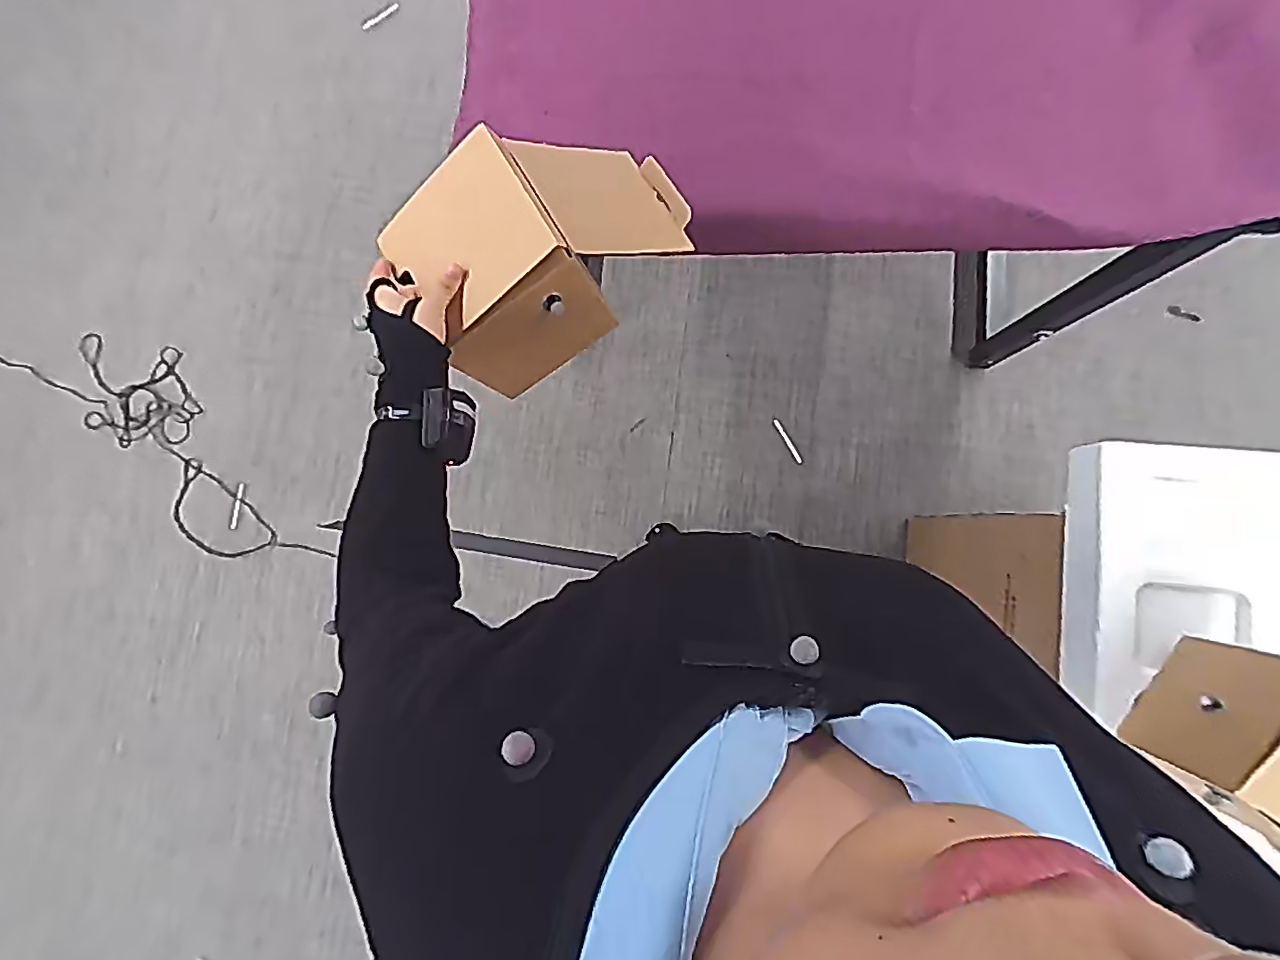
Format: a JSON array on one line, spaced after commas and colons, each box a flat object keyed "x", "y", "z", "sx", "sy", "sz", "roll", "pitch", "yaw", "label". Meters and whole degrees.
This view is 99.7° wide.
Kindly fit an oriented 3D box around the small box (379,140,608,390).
[{"x": -0.154, "y": -0.234, "z": 0.632, "sx": 0.179, "sy": 0.176, "sz": 0.168, "roll": -32, "pitch": 75, "yaw": 9, "label": "small box"}]
